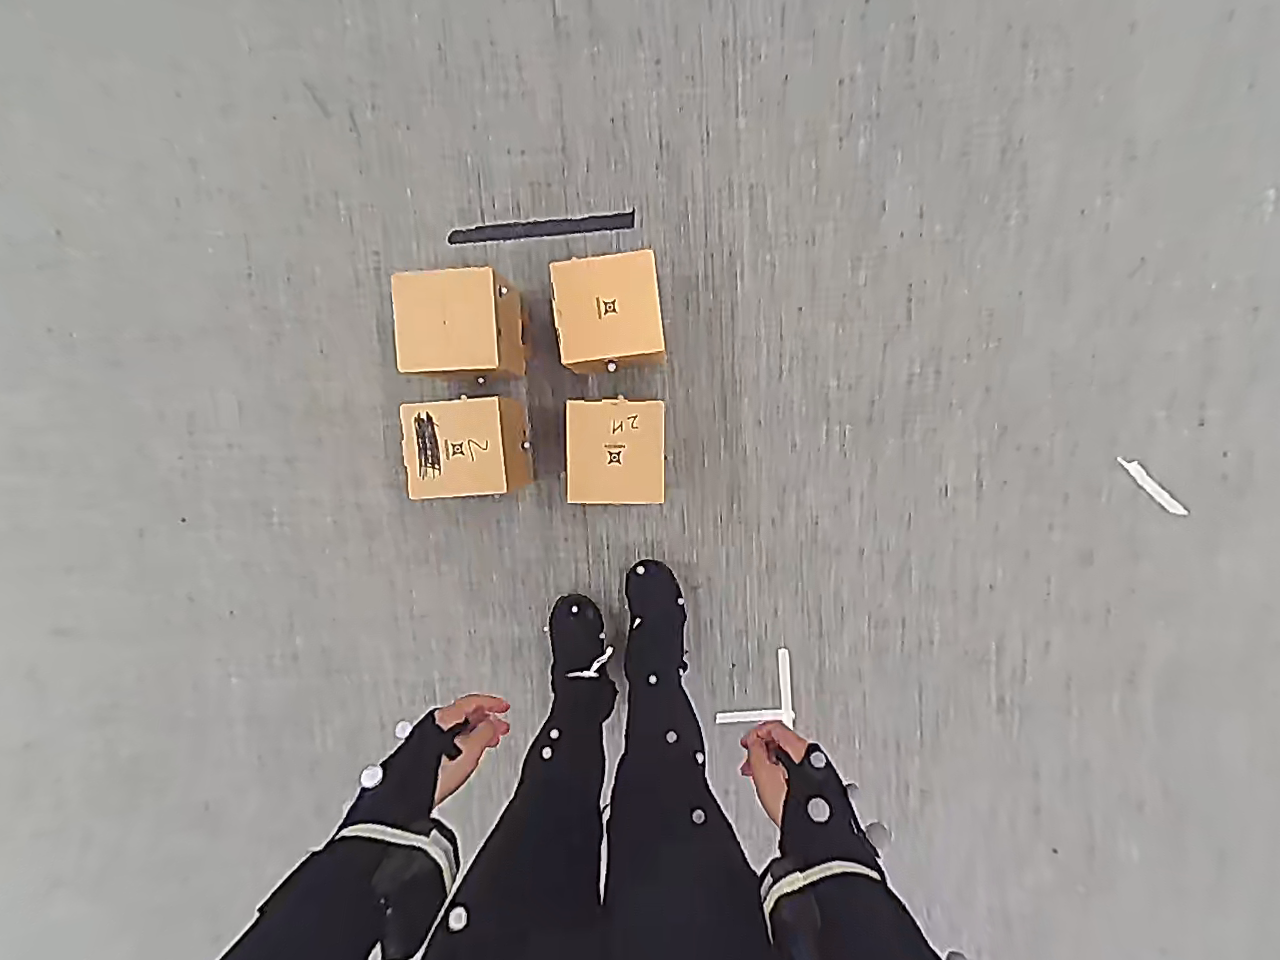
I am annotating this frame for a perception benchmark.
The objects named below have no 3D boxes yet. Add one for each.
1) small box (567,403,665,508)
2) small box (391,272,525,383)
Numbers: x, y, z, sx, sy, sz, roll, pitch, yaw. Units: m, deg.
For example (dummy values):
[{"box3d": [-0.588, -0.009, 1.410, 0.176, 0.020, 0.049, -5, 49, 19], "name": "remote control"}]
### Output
[{"box3d": [-0.038, -0.049, 0.987, 0.168, 0.176, 0.179, 0, 95, 2], "name": "small box"}, {"box3d": [-0.319, -0.268, 0.979, 0.179, 0.176, 0.168, -2, 95, 3], "name": "small box"}]
